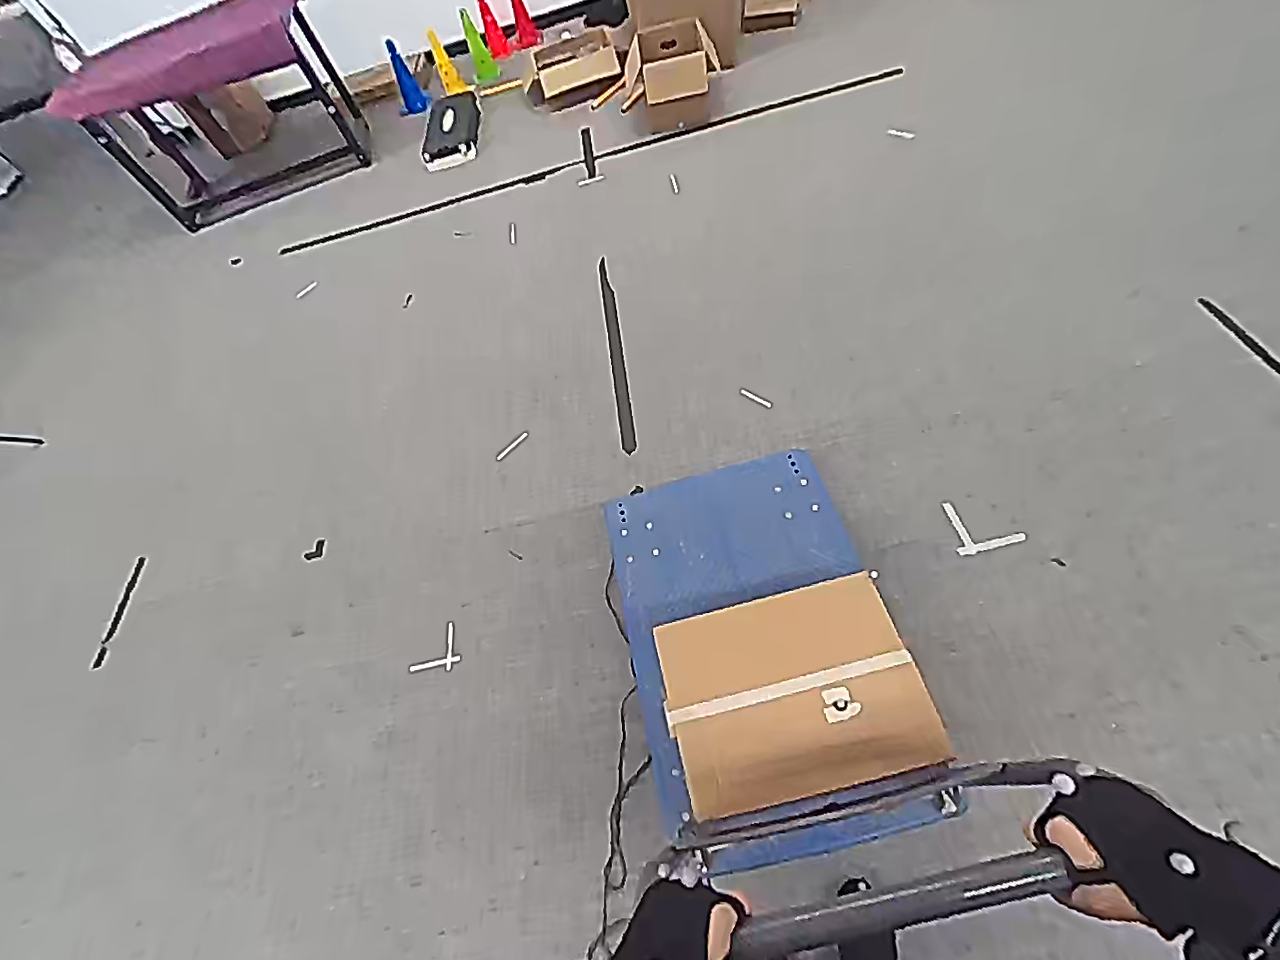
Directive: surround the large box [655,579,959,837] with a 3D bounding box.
[{"bbox_3d":[0.272,0.430,0.998,0.408,0.320,0.320,-15,57,2],"label":"large box"}]
